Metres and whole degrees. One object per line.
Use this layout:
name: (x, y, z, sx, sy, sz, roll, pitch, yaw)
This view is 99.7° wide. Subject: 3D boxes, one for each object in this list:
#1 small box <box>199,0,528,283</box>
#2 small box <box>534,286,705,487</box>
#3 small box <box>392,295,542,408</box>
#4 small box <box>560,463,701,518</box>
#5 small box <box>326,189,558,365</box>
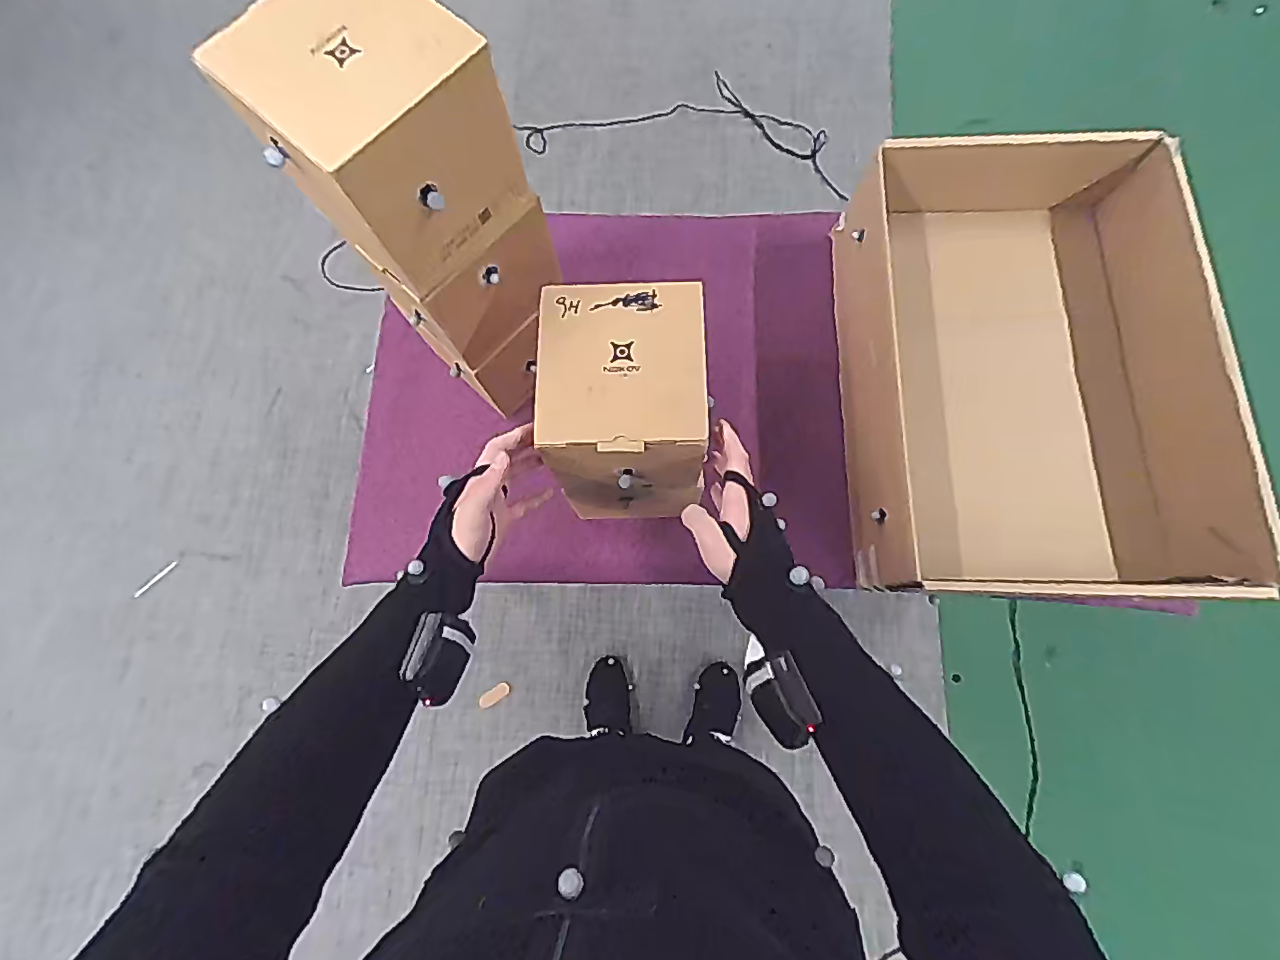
small box: (-0.230, -0.316, 0.502, 0.179, 0.176, 0.168, 41, 81, 10)
small box: (-0.015, -0.091, 0.602, 0.168, 0.176, 0.179, -1, 75, 1)
small box: (-0.222, -0.230, 0.815, 0.179, 0.176, 0.168, 42, 80, 11)
small box: (-0.009, -0.042, 0.758, 0.179, 0.176, 0.168, -1, 74, 1)
small box: (-0.221, -0.274, 0.658, 0.168, 0.176, 0.179, 43, 80, 10)
